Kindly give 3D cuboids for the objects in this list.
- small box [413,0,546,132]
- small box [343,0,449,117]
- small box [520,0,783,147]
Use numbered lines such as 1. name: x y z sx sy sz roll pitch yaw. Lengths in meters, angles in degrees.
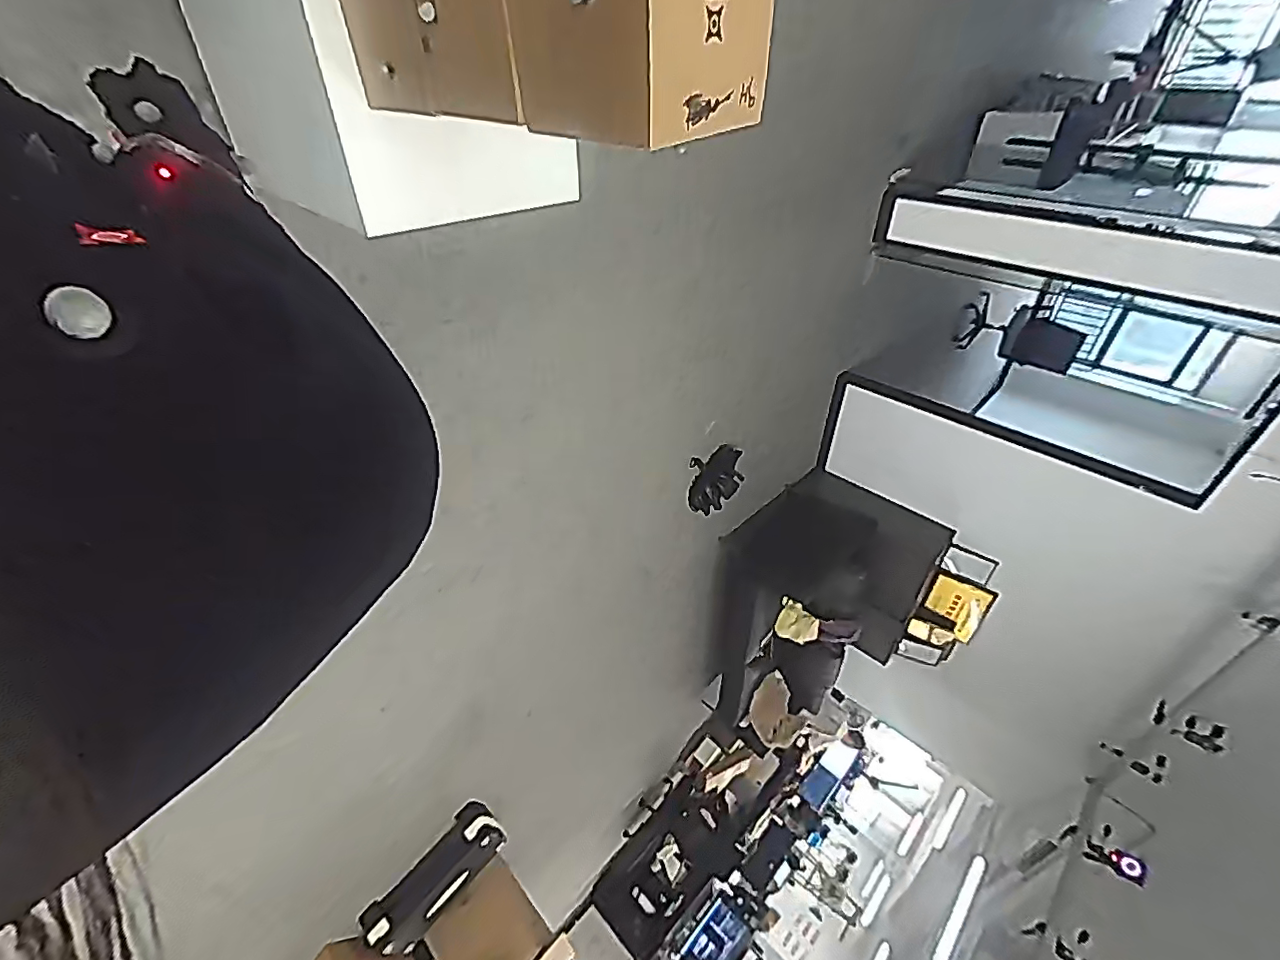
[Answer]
1. small box: -0.109 -0.476 0.556 0.179 0.176 0.168 -38 142 -31
2. small box: -0.232 -0.548 0.639 0.168 0.176 0.179 -35 139 -32
3. small box: 0.006 -0.405 0.464 0.168 0.176 0.179 -35 140 -31
